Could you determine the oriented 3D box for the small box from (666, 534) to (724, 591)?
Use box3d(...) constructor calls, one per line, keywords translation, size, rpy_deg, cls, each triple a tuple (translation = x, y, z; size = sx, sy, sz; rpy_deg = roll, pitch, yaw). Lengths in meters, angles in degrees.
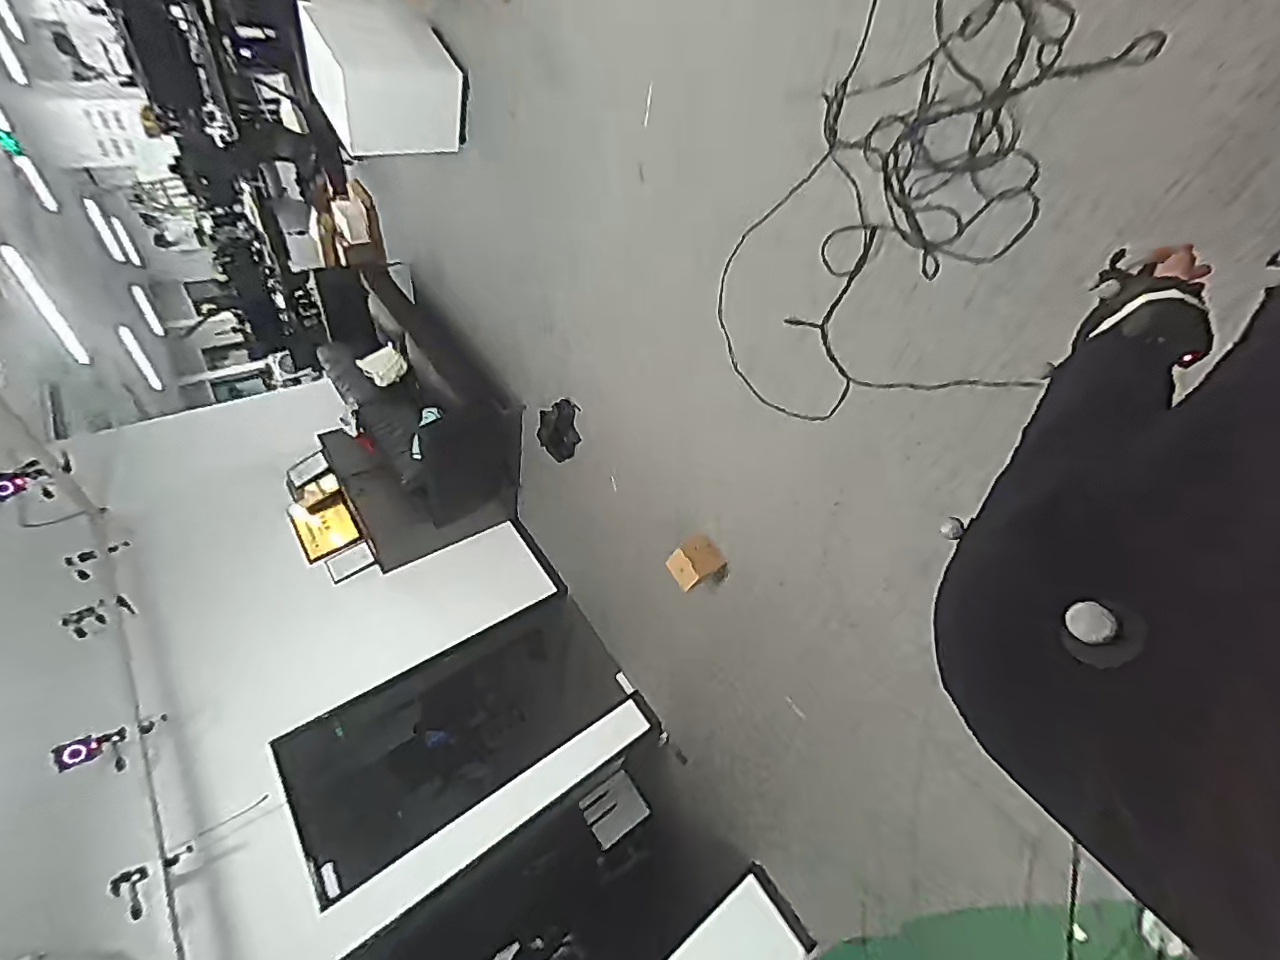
box3d(translation=(0.252, 0.368, 2.435), size=(0.168, 0.176, 0.179), rpy_deg=(56, 149, 20), cls="small box")
